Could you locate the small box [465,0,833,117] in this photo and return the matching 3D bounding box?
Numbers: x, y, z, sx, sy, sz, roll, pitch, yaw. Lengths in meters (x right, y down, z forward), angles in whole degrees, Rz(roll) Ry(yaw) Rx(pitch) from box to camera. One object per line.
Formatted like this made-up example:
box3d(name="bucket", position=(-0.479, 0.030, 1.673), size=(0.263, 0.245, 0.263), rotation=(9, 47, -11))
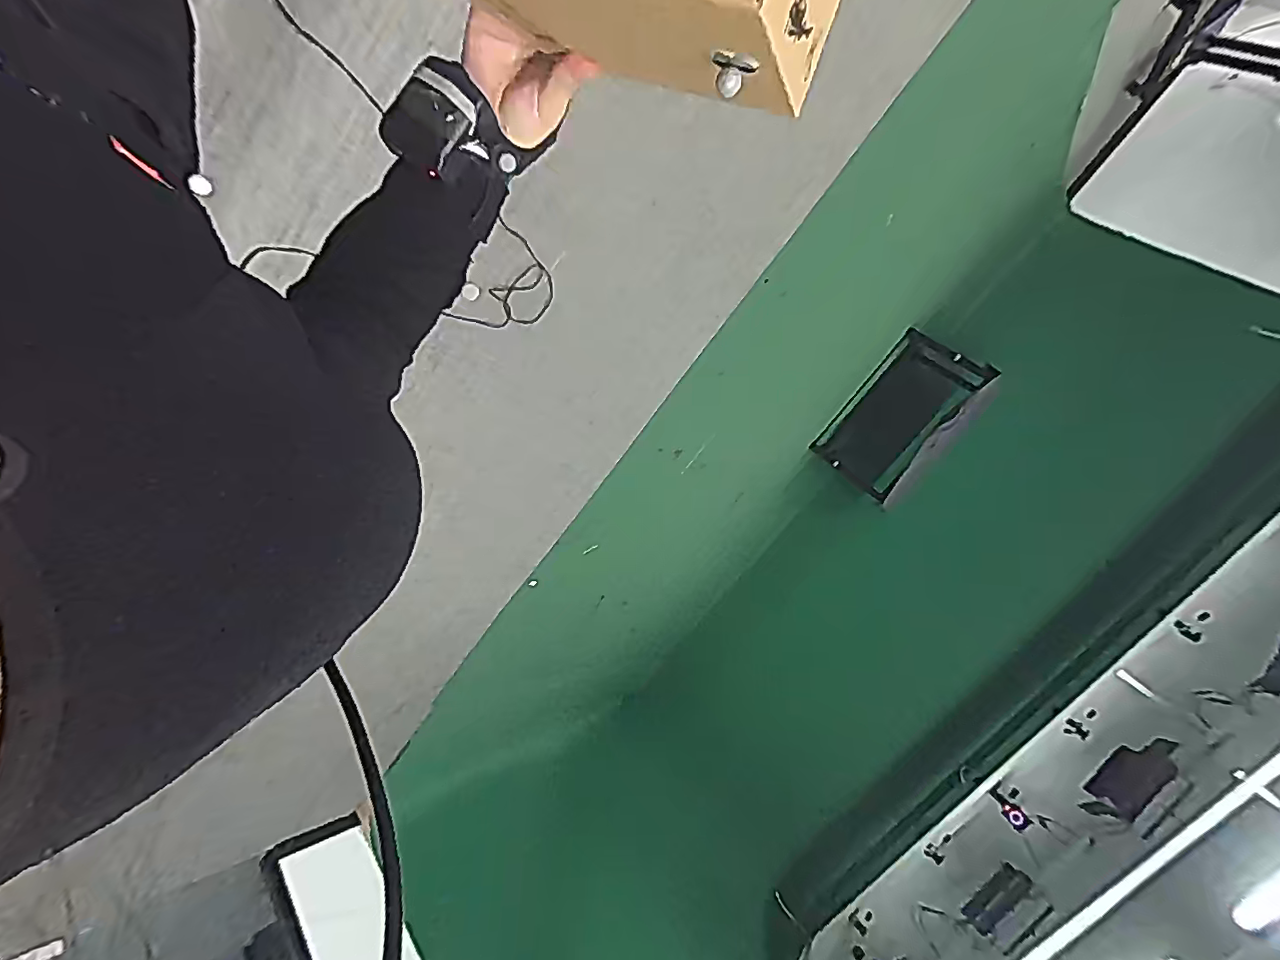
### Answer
box3d(name="small box", position=(0.015, -0.303, 0.249), size=(0.168, 0.176, 0.179), rotation=(-46, 154, -60))
